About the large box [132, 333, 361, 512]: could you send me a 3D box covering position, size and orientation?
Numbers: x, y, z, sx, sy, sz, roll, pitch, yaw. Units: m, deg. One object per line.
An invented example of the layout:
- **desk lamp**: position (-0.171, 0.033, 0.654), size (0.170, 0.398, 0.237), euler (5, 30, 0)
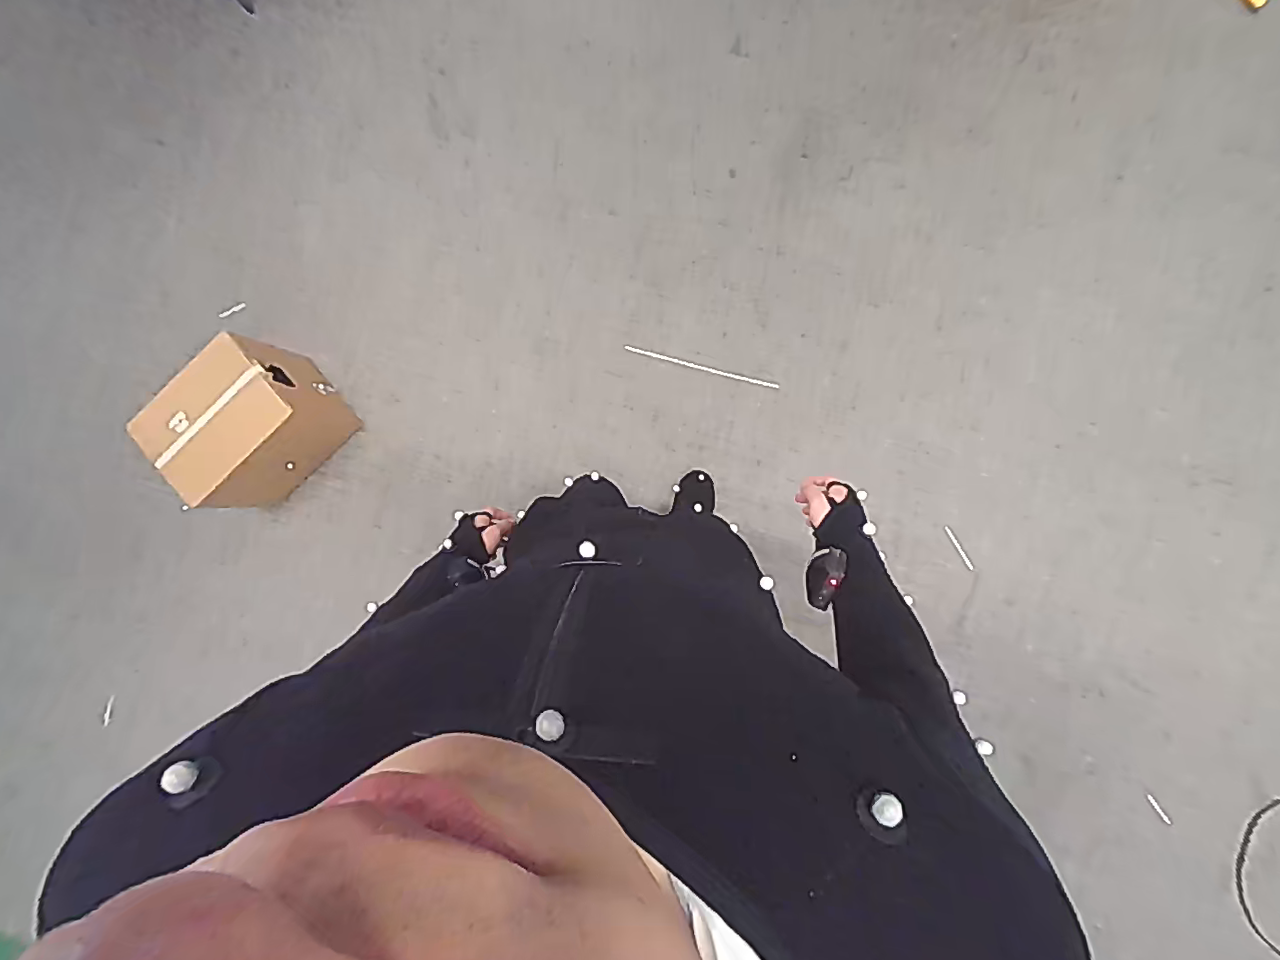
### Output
- **large box**: position (-1.148, -0.160, 1.616), size (0.408, 0.320, 0.320), euler (-42, 85, 5)
